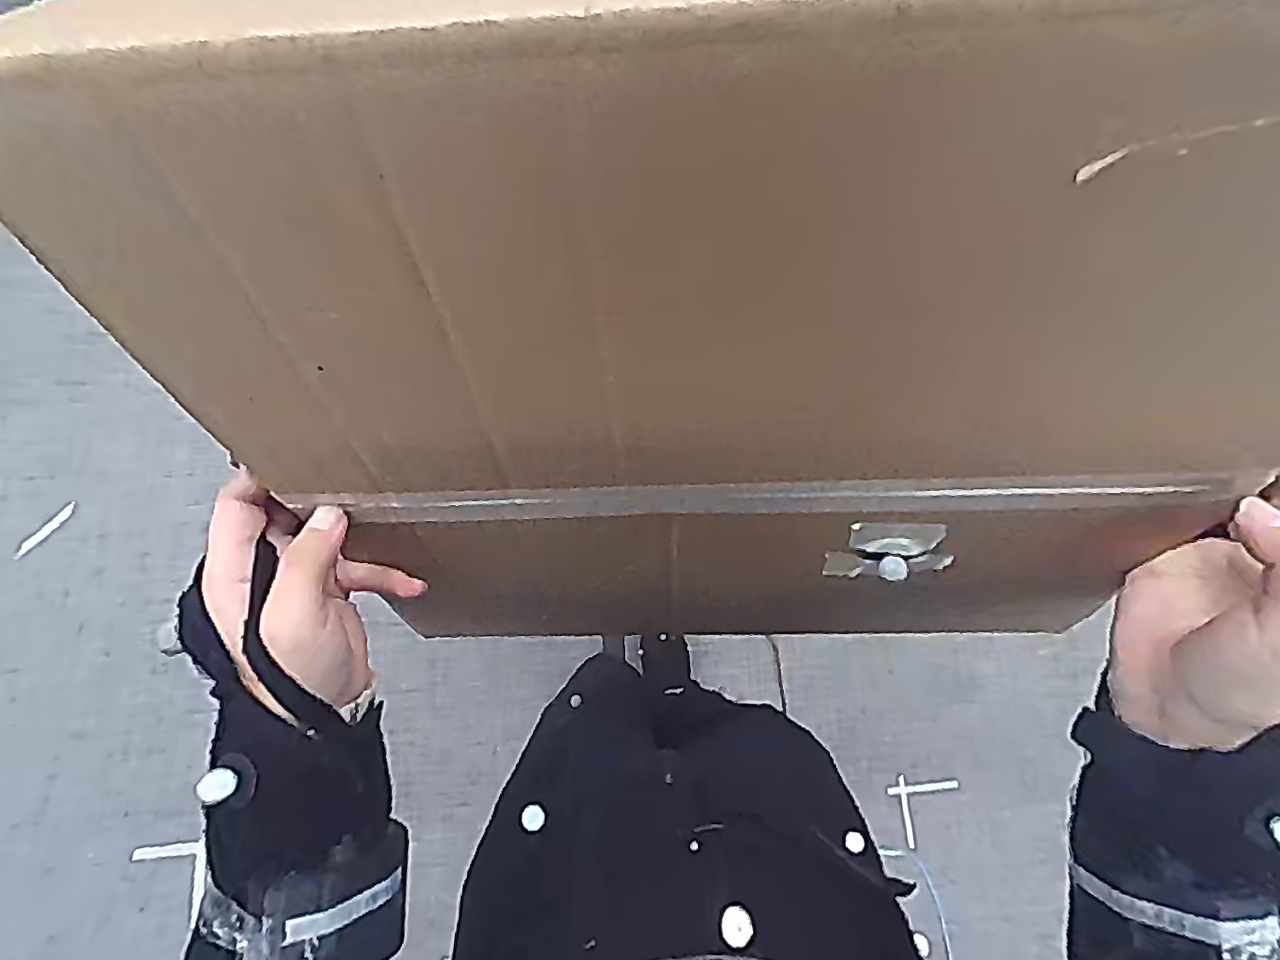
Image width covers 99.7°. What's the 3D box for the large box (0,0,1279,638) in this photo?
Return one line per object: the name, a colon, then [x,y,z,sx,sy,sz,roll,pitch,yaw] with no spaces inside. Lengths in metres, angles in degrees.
large box: [0.043,-0.115,0.327,0.408,0.320,0.320,-3,53,3]
